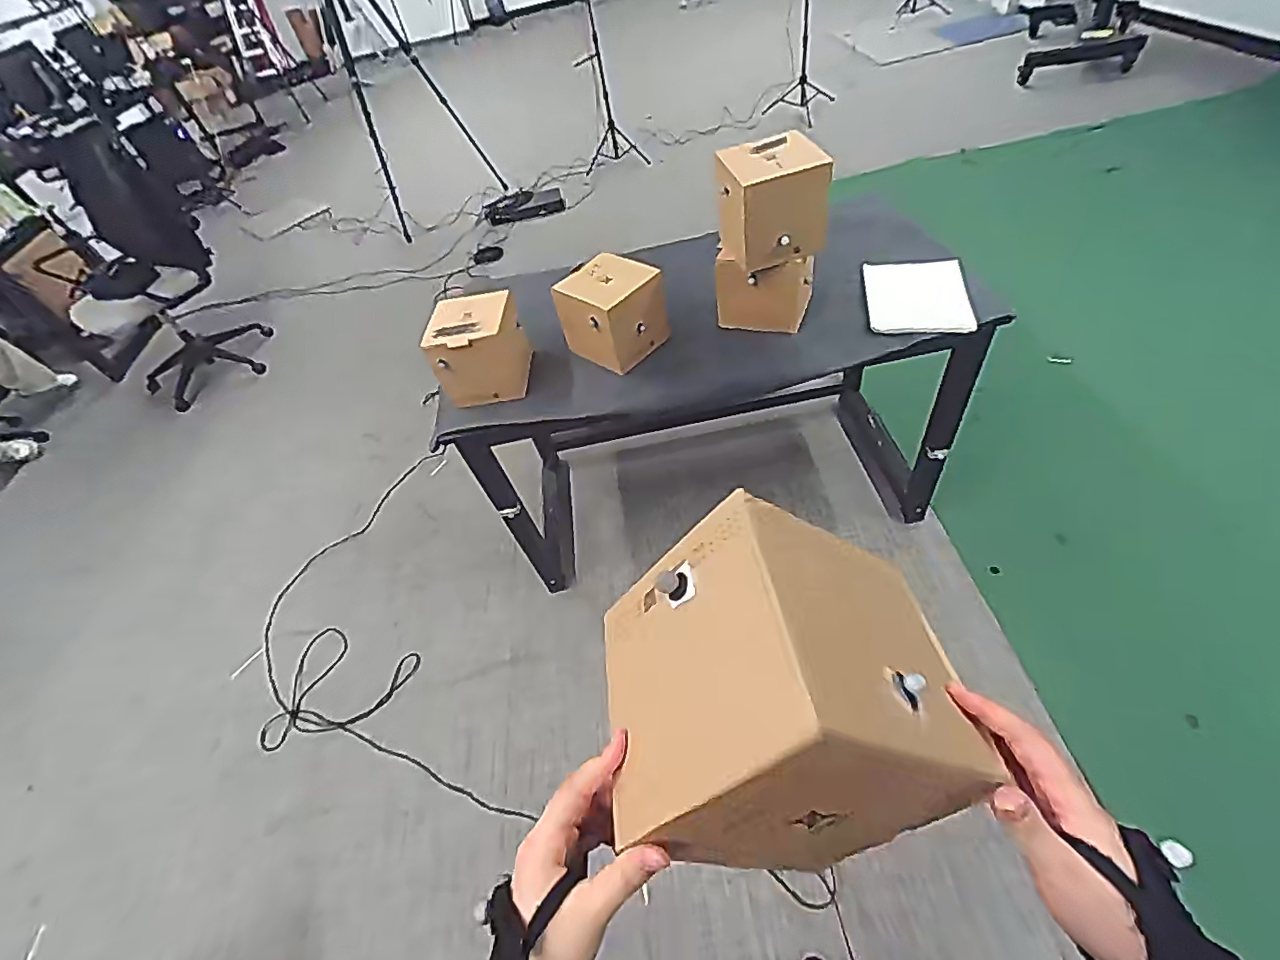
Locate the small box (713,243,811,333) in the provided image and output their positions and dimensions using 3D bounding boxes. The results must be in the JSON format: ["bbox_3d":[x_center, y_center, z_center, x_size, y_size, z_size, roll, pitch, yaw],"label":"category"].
[{"bbox_3d":[0.272,-0.440,1.180,0.179,0.176,0.168,11,54,22],"label":"small box"}]

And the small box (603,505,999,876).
[{"bbox_3d":[0.088,0.144,0.379,0.179,0.168,0.176,26,30,-23],"label":"small box"}]

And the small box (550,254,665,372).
[{"bbox_3d":[-0.063,-0.363,1.190,0.179,0.176,0.168,31,62,32],"label":"small box"}]

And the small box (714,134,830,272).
[{"bbox_3d":[0.248,-0.533,1.046,0.168,0.176,0.179,-16,49,1],"label":"small box"}]
